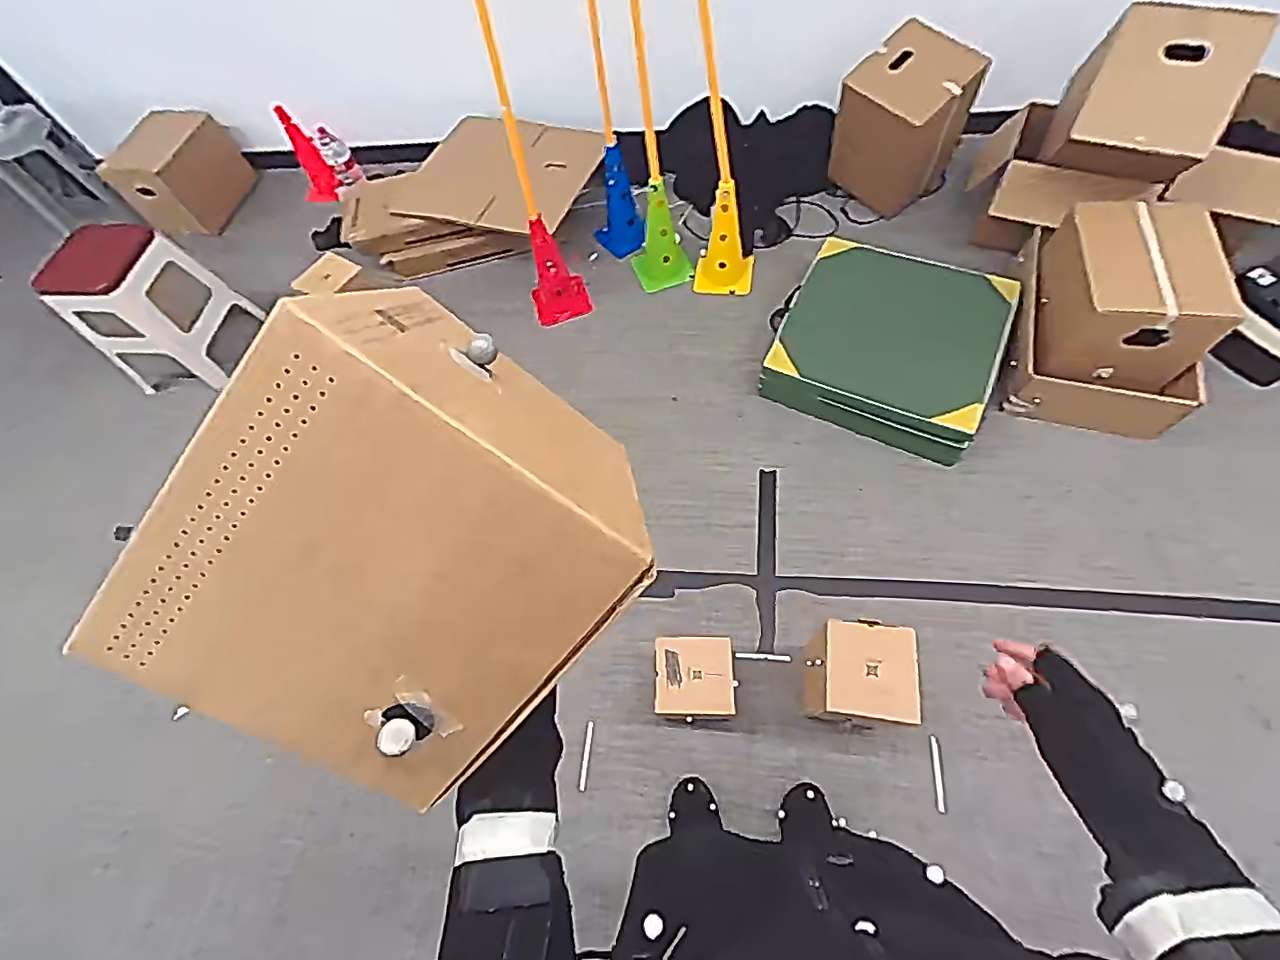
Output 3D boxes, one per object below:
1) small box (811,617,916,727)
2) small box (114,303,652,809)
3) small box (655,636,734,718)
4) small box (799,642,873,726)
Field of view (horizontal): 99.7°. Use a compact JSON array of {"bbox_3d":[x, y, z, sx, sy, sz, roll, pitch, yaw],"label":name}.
[{"bbox_3d":[0.449,0.395,1.105,0.168,0.176,0.179,6,65,11],"label":"small box"},{"bbox_3d":[-0.120,0.027,0.300,0.176,0.168,0.179,37,102,-18],"label":"small box"},{"bbox_3d":[0.130,0.472,1.287,0.179,0.176,0.168,-1,63,5],"label":"small box"},{"bbox_3d":[0.475,0.466,1.250,0.179,0.176,0.168,7,64,9],"label":"small box"}]
